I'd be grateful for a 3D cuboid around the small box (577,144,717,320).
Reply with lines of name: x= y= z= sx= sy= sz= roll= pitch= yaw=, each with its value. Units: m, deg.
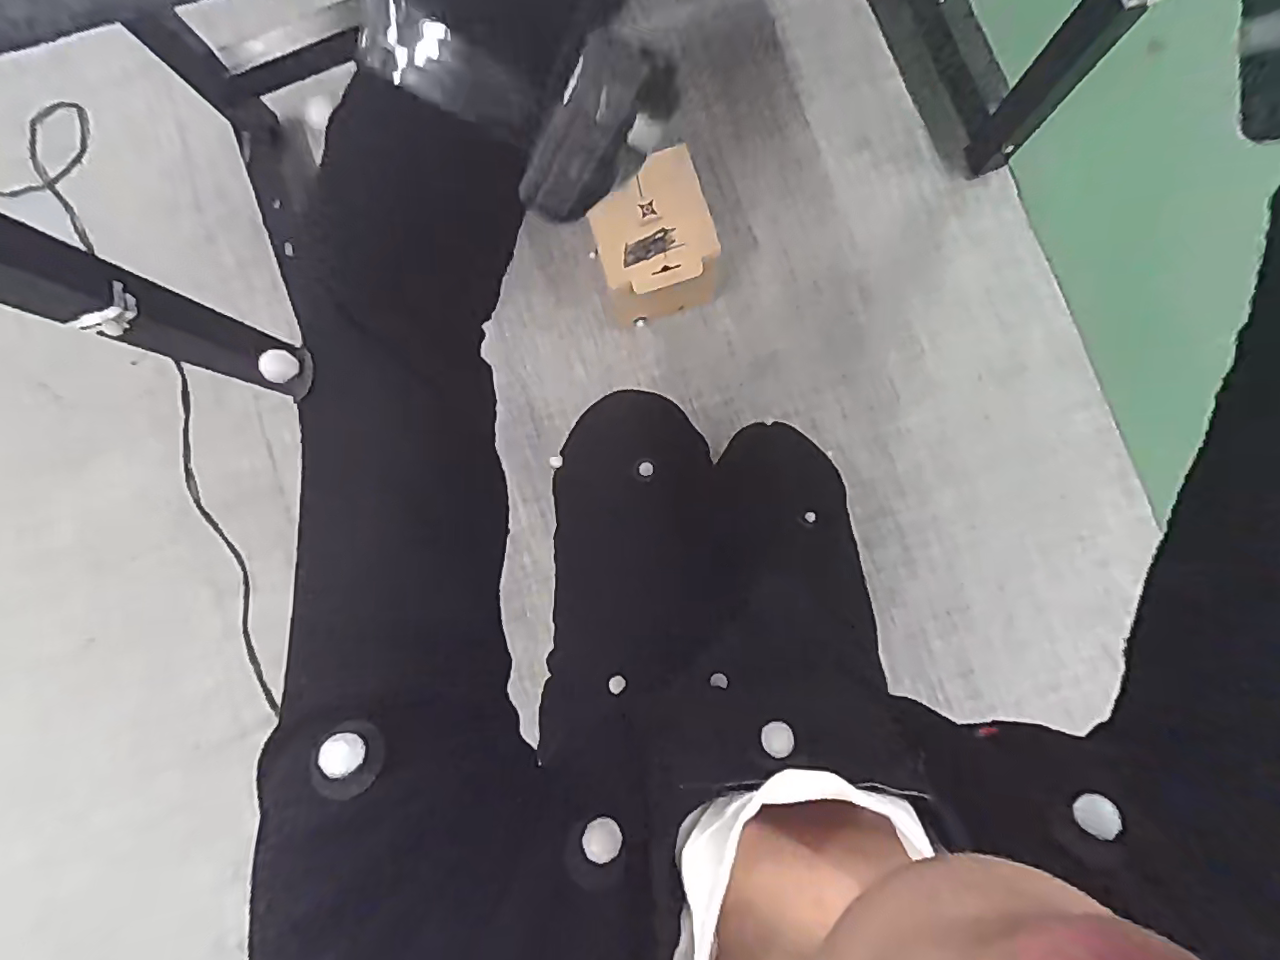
small box: x=0.016 y=-0.370 z=0.846 sx=0.168 sy=0.176 sz=0.179 roll=-17 pitch=84 yaw=3
